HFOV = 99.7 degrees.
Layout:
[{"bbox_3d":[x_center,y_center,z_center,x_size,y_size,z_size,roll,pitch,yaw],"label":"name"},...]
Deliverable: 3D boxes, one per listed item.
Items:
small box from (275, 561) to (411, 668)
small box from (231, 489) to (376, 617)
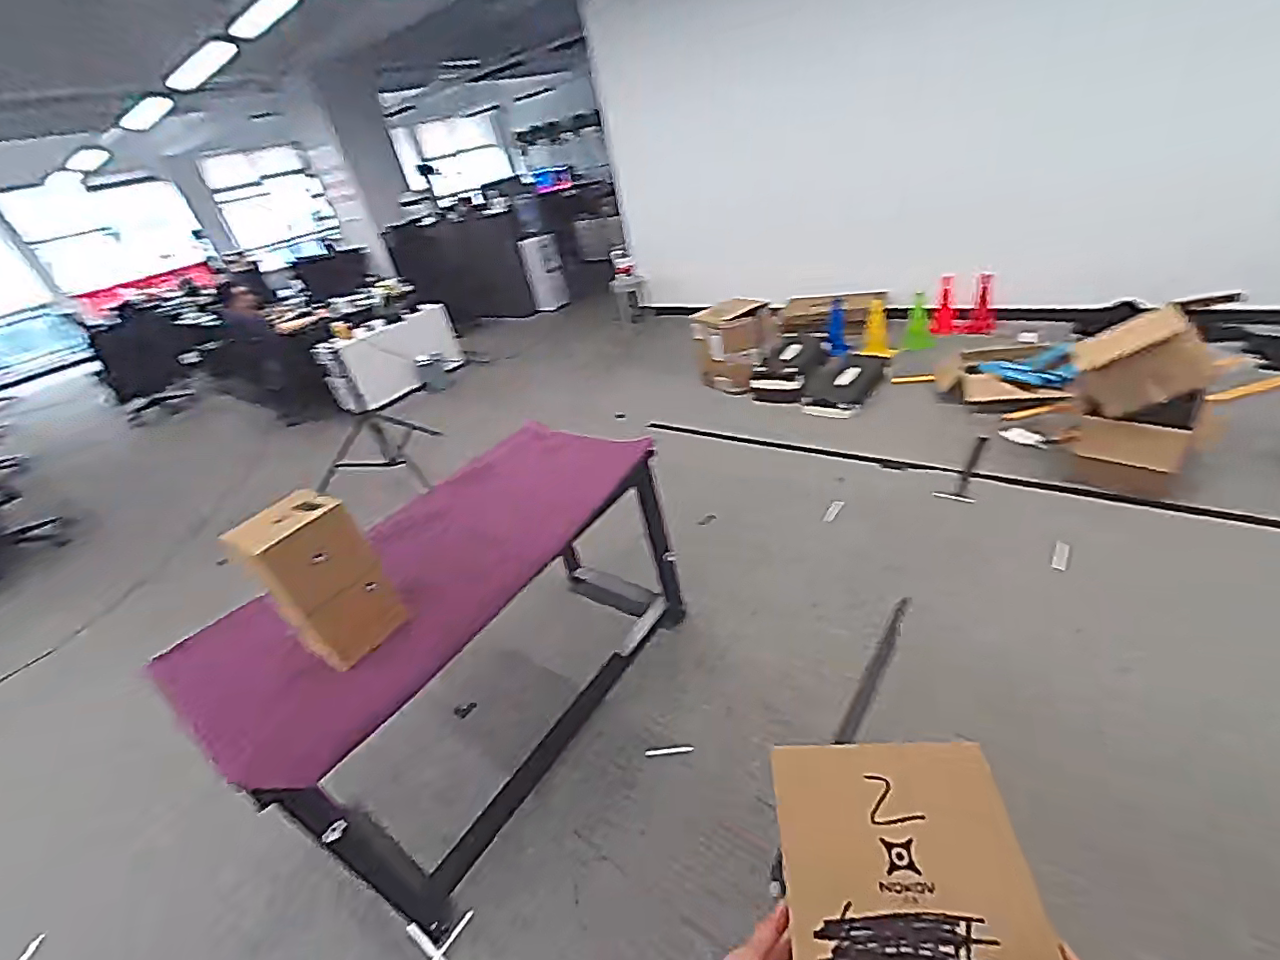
[{"bbox_3d":[-0.649,0.282,1.200,0.168,0.176,0.179,11,39,34],"label":"small box"},{"bbox_3d":[-0.677,0.146,1.112,0.168,0.176,0.179,11,39,34],"label":"small box"}]
